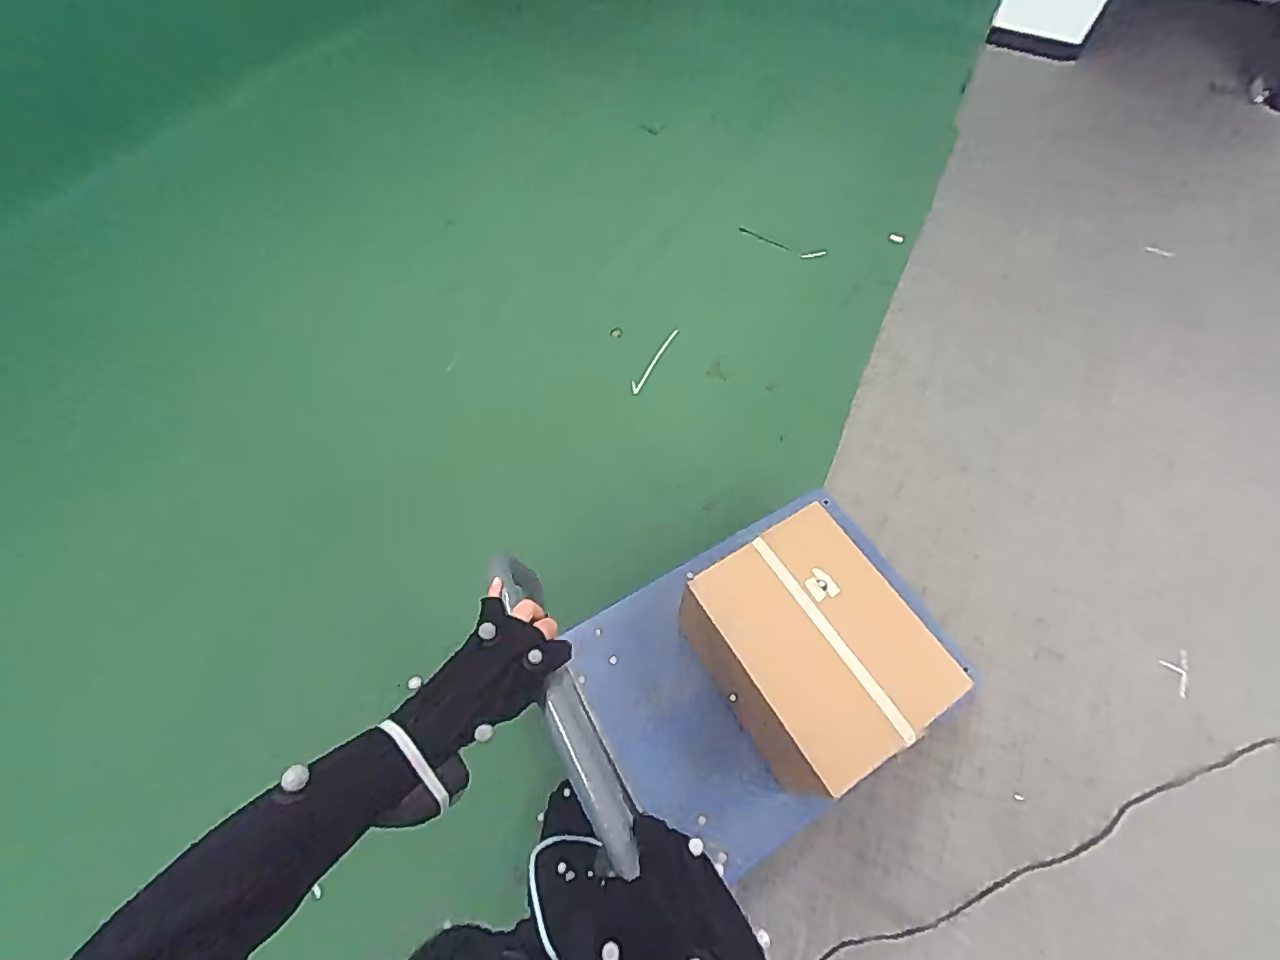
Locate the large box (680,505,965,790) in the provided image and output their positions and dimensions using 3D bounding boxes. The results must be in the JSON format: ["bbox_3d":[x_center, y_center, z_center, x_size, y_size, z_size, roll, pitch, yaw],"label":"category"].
[{"bbox_3d":[0.319,0.335,1.080,0.320,0.320,0.408,-29,65,-15],"label":"large box"}]
